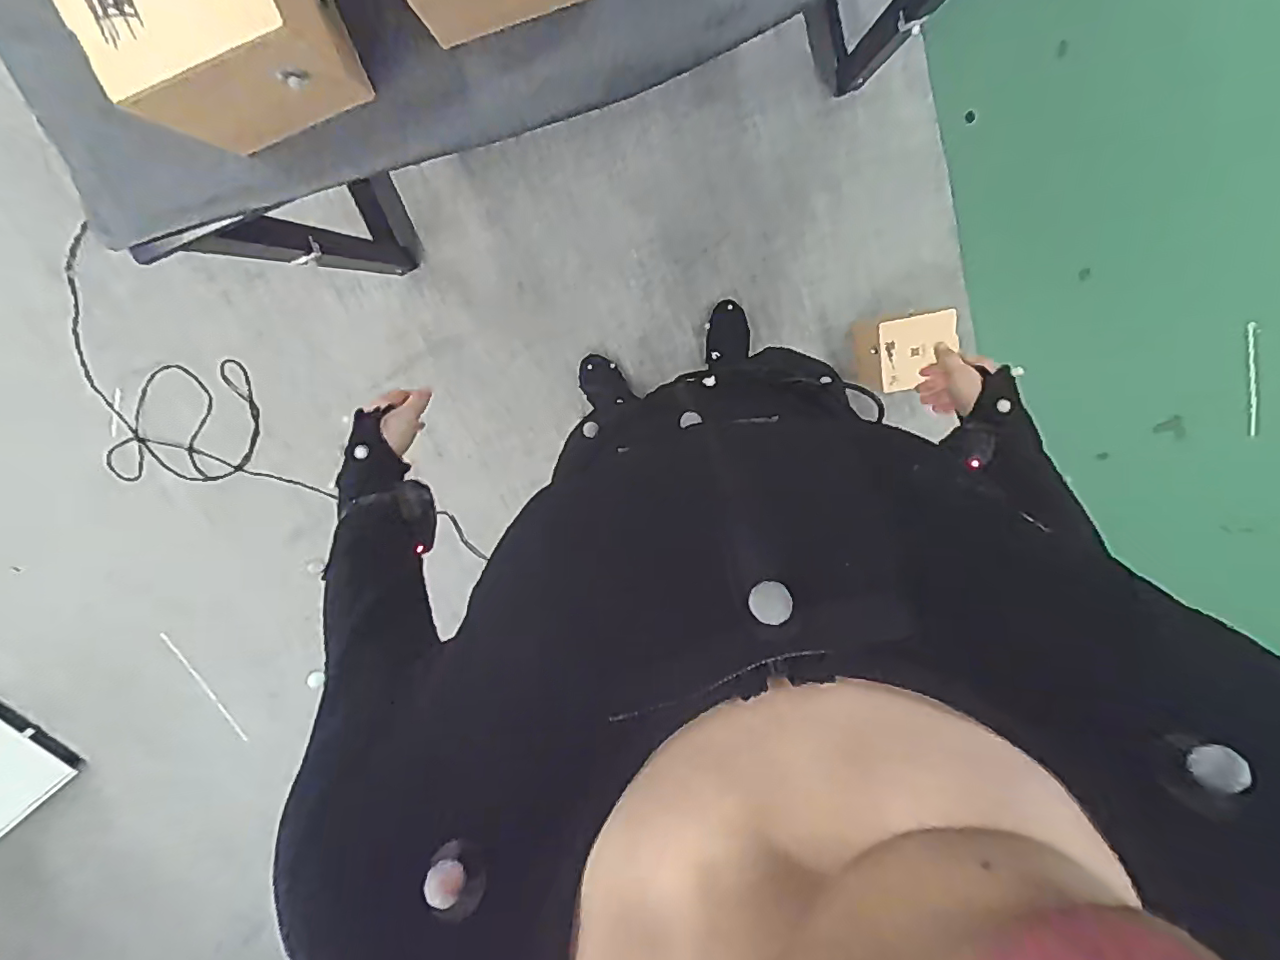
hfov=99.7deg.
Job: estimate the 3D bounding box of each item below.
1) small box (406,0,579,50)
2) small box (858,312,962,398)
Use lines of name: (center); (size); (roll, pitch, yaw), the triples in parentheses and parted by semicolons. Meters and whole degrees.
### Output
small box: (-0.151, -0.541, 0.489); (0.179, 0.176, 0.168); (-14, 105, 6)
small box: (0.650, -0.309, 1.313); (0.179, 0.176, 0.168); (-10, 108, 4)
